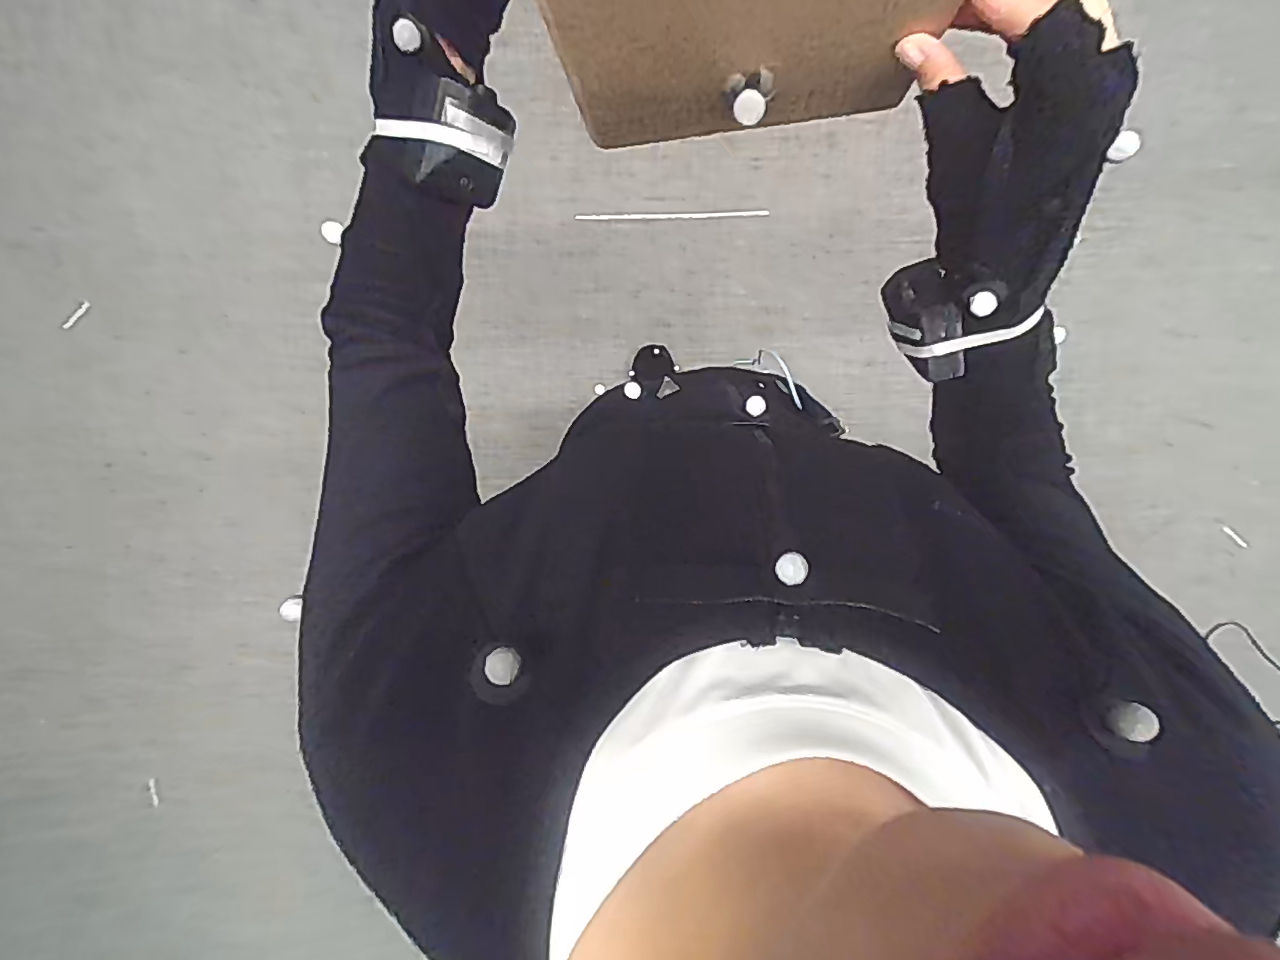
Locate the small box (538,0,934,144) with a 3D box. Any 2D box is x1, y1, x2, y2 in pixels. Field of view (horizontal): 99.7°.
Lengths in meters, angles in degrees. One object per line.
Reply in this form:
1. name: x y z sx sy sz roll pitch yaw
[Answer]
1. small box: 0.041 -0.281 0.235 0.179 0.176 0.168 -5 95 7
